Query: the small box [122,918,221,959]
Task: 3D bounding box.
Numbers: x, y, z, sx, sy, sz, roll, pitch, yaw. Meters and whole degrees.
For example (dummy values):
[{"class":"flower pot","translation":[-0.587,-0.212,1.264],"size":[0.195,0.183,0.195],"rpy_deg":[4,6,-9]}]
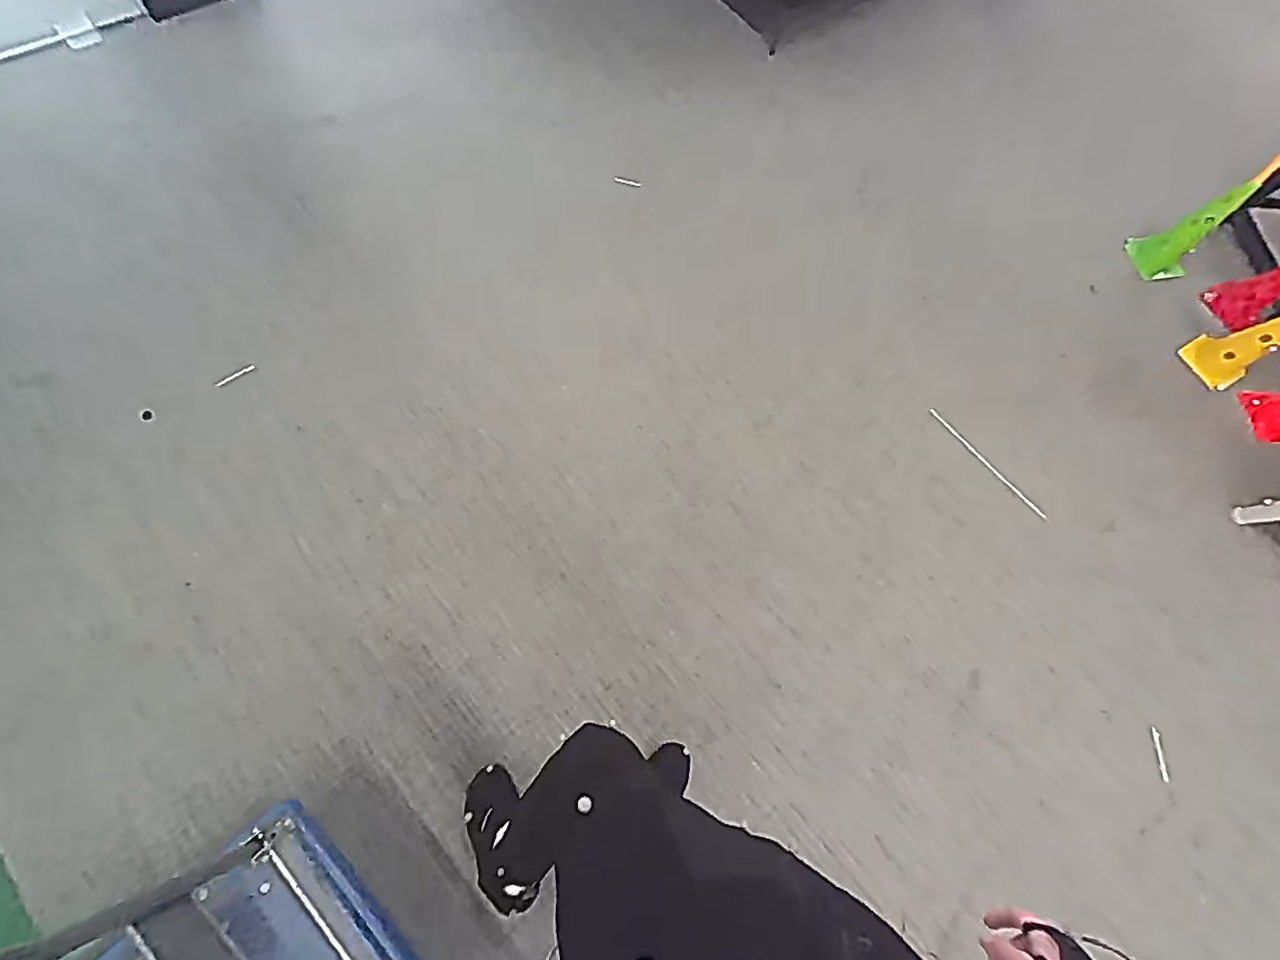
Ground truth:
[{"class":"small box","translation":[-0.815,0.873,0.870],"size":[0.179,0.176,0.168],"rpy_deg":[-38,80,-20]}]
